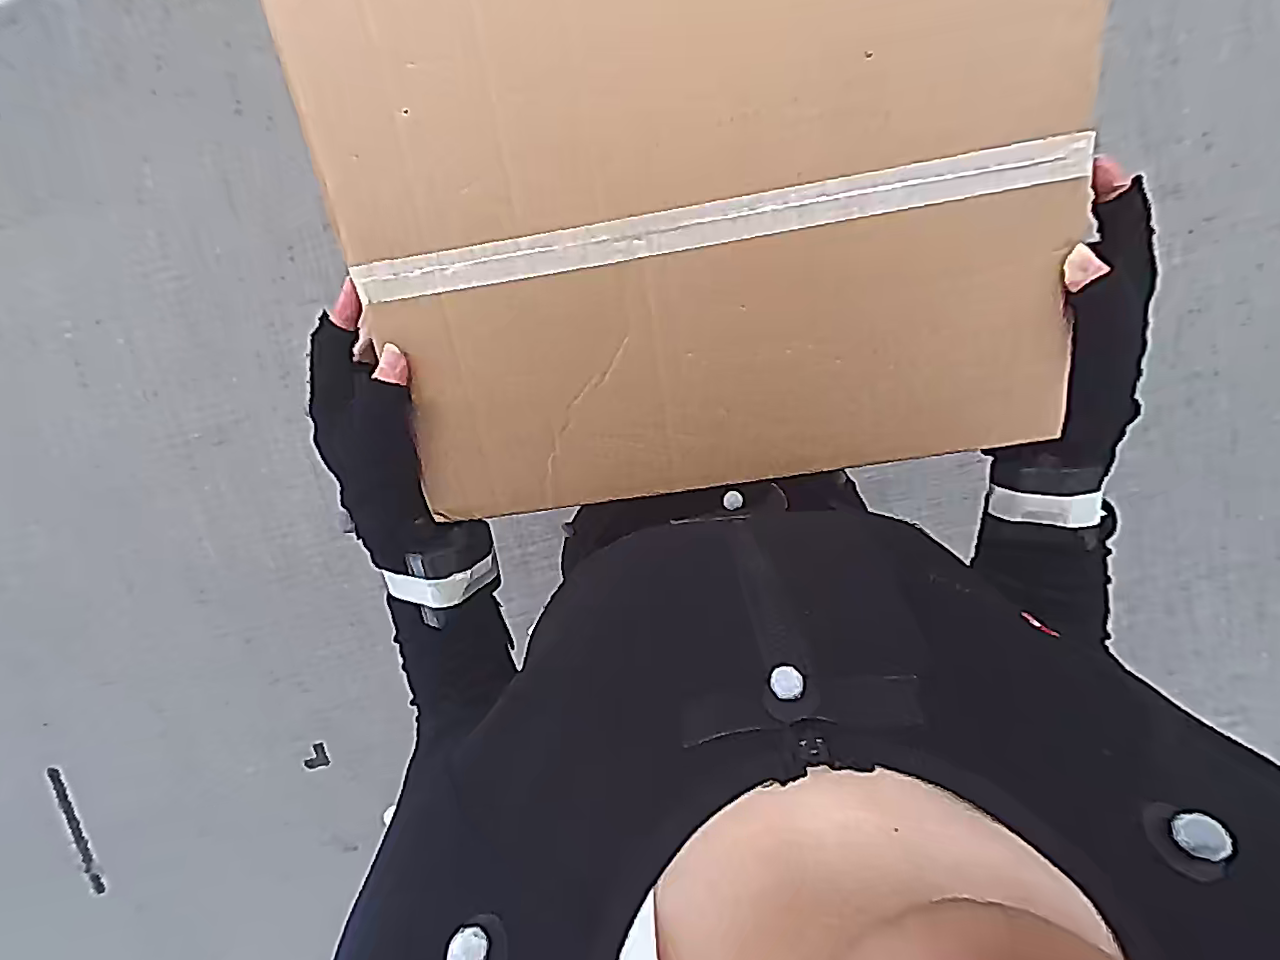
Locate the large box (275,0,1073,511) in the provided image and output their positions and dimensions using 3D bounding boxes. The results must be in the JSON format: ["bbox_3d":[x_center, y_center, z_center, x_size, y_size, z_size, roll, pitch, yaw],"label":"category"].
[{"bbox_3d":[0.035,-0.202,0.448,0.408,0.320,0.320,-8,110,4],"label":"large box"}]
